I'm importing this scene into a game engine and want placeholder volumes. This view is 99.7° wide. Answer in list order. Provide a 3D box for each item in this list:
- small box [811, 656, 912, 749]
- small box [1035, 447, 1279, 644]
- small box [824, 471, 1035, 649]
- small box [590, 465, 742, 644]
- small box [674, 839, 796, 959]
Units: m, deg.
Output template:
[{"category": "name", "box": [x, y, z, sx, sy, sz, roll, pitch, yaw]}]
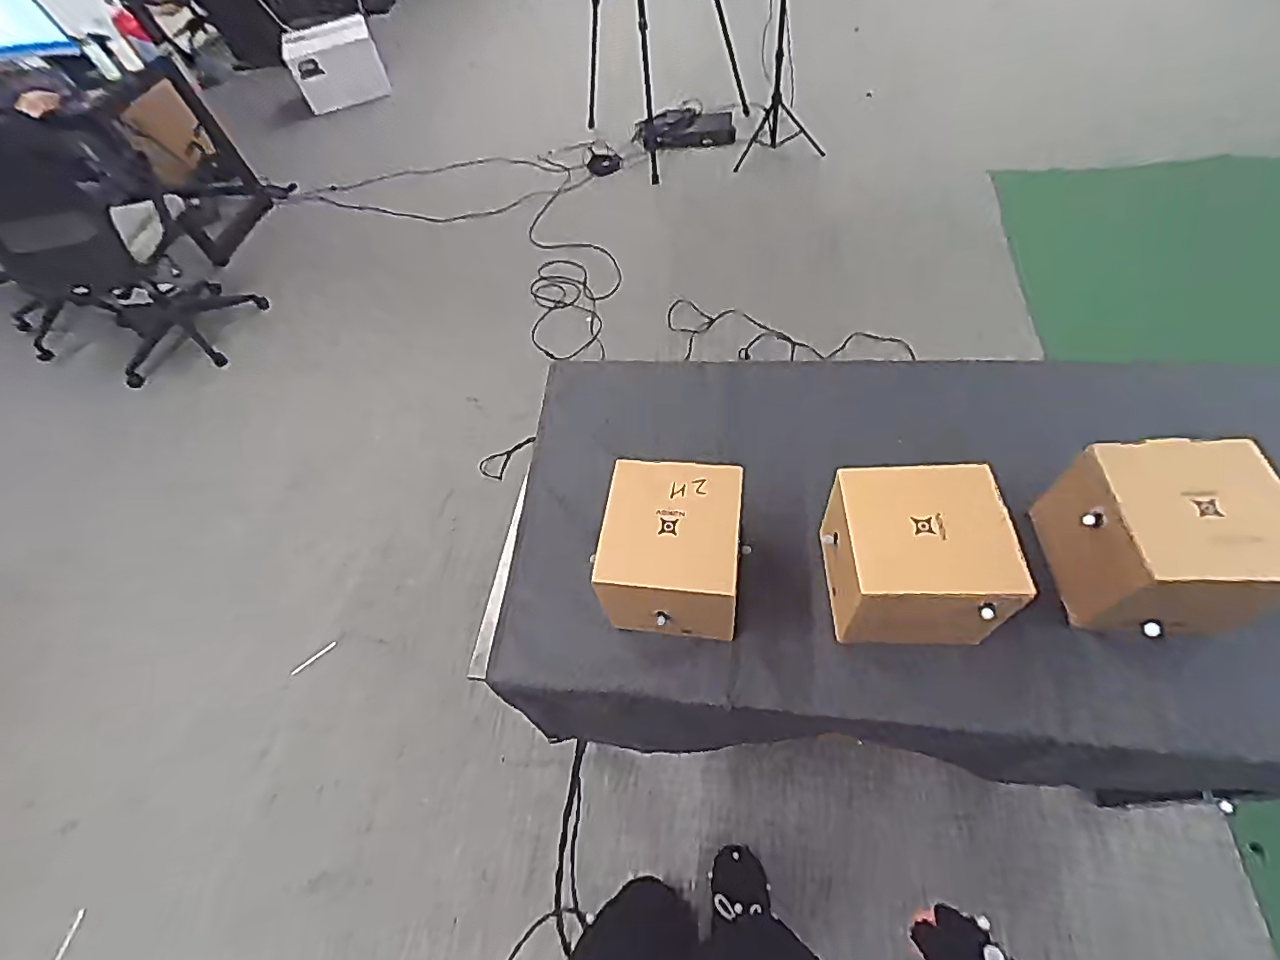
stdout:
[{"category": "small box", "box": [0.500, 0.515, 1.245, 0.179, 0.176, 0.168, 0, 57, 10]}, {"category": "small box", "box": [0.611, 0.079, 0.638, 0.168, 0.176, 0.179, -1, 57, 10]}, {"category": "small box", "box": [0.331, 0.104, 0.668, 0.179, 0.176, 0.168, -2, 56, 8]}, {"category": "small box", "box": [0.045, 0.102, 0.710, 0.168, 0.176, 0.179, 4, 58, 11]}, {"category": "small box", "box": [0.189, 0.876, 1.066, 0.179, 0.176, 0.168, -22, 25, -32]}]
